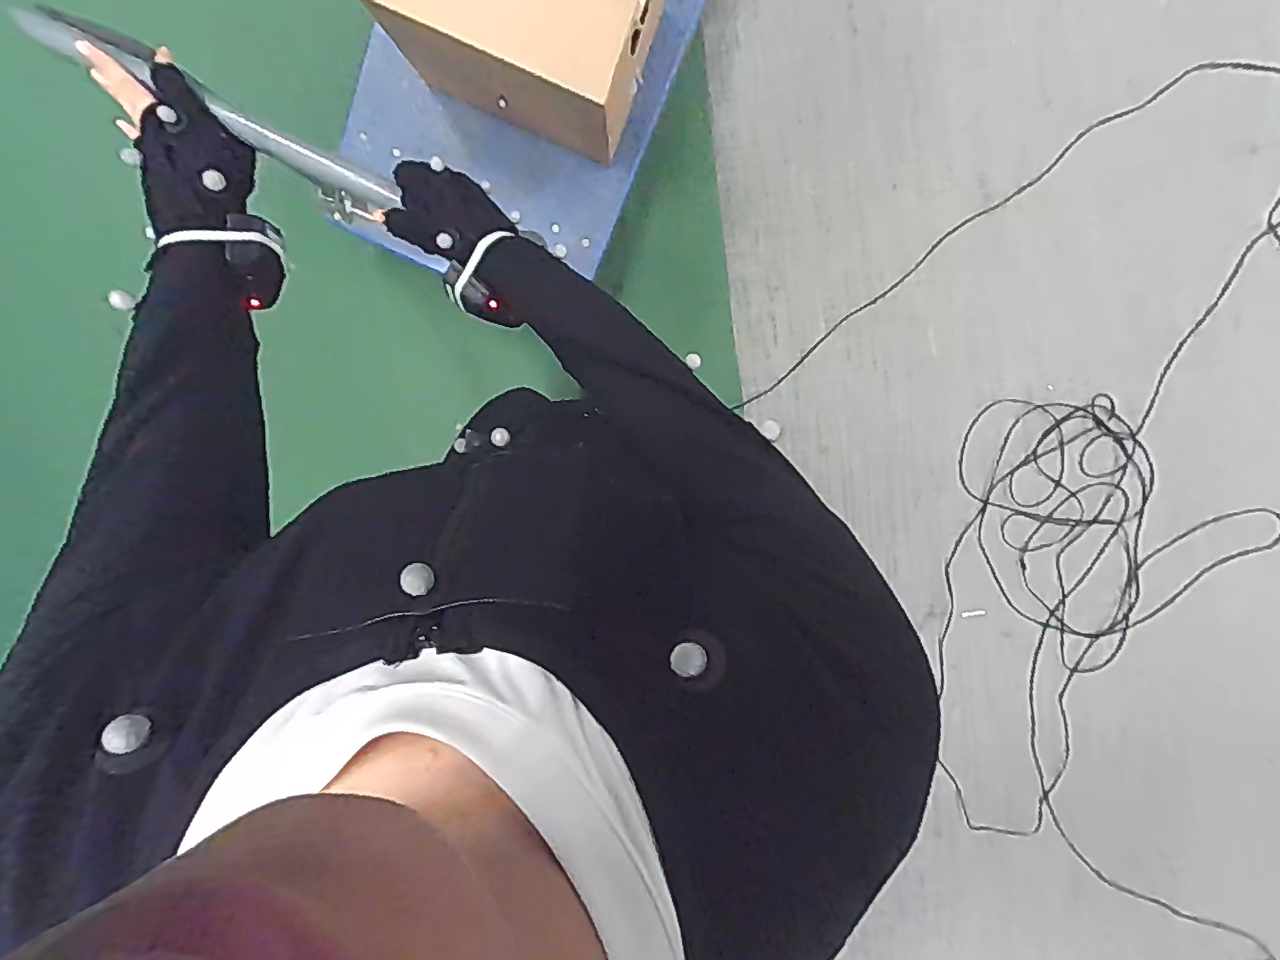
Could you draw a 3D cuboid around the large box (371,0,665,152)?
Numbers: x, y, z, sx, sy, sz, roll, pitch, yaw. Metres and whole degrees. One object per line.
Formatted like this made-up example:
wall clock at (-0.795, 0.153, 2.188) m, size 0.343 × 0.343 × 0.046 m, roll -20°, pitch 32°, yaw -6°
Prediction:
large box at (-0.181, -0.844, 0.936) m, size 0.408 × 0.320 × 0.320 m, roll 20°, pitch 103°, yaw -6°
